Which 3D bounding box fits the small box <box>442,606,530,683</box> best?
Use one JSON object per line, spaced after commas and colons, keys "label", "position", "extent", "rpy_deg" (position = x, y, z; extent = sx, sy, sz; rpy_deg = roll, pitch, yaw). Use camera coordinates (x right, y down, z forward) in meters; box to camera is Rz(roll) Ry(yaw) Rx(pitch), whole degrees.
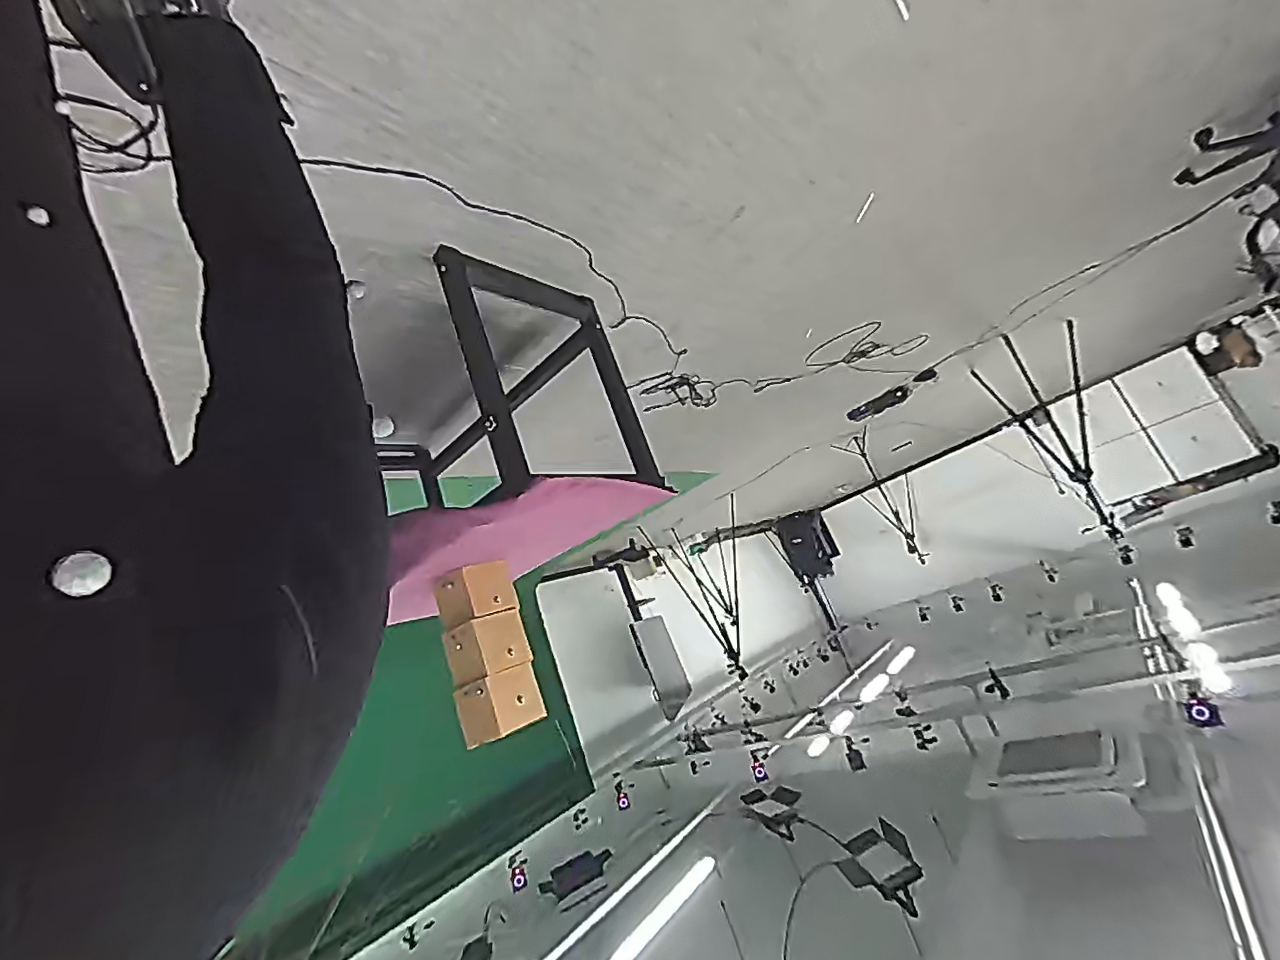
{"label": "small box", "position": [-0.469, 0.494, 1.646], "extent": [0.168, 0.176, 0.179], "rpy_deg": [-31, 162, 32]}

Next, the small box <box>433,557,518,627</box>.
{"label": "small box", "position": [-0.520, 0.348, 1.702], "extent": [0.168, 0.176, 0.179], "rpy_deg": [-30, 162, 30]}

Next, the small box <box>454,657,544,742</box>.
{"label": "small box", "position": [-0.421, 0.644, 1.599], "extent": [0.168, 0.176, 0.179], "rpy_deg": [-30, 163, 31]}
